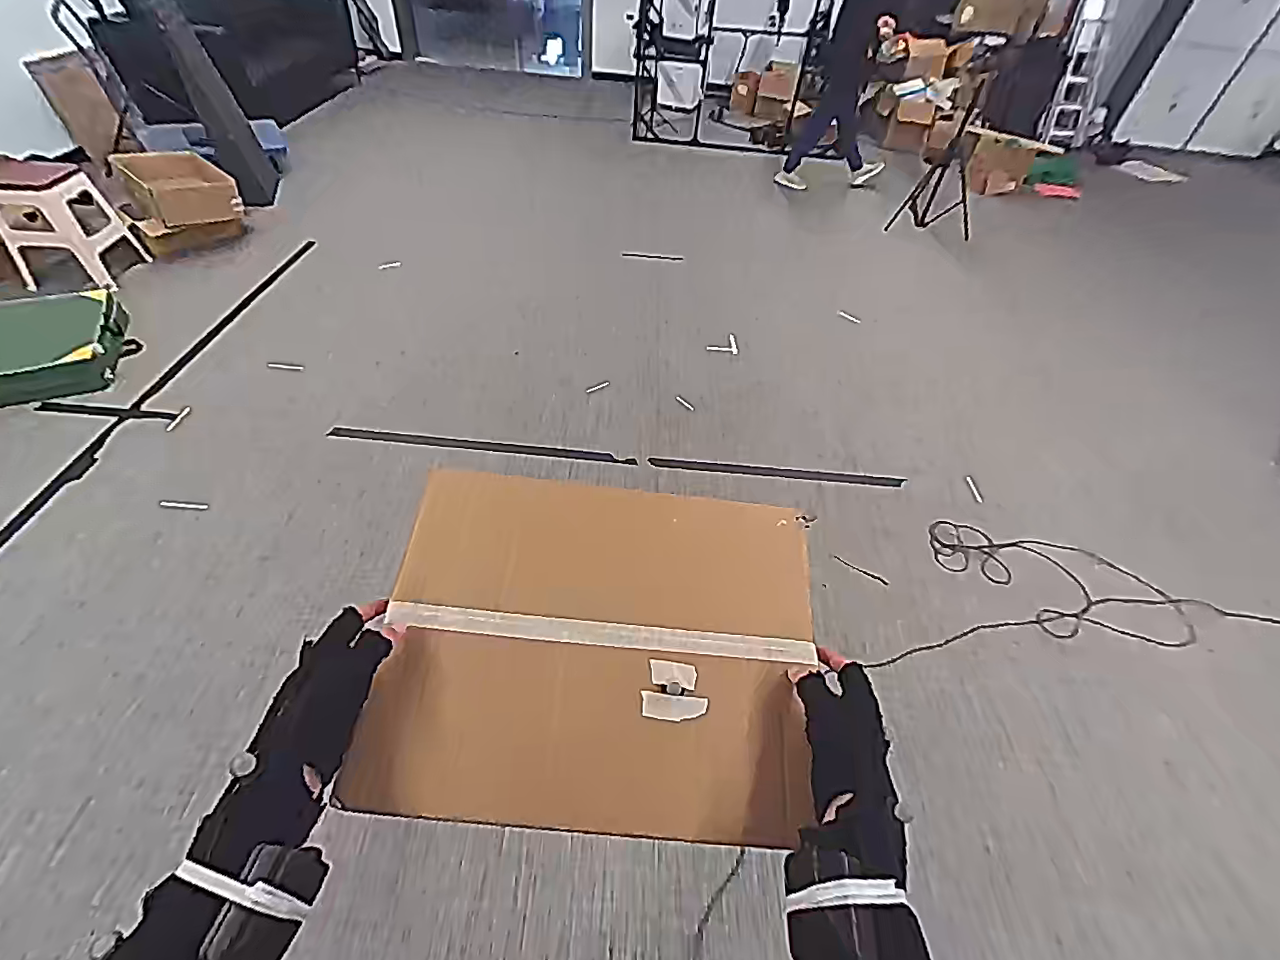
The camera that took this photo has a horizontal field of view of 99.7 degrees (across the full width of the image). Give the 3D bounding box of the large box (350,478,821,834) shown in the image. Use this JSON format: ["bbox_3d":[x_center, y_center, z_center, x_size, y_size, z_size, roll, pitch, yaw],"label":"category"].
[{"bbox_3d":[-0.048,0.222,0.651,0.408,0.320,0.320,7,61,-3],"label":"large box"}]
